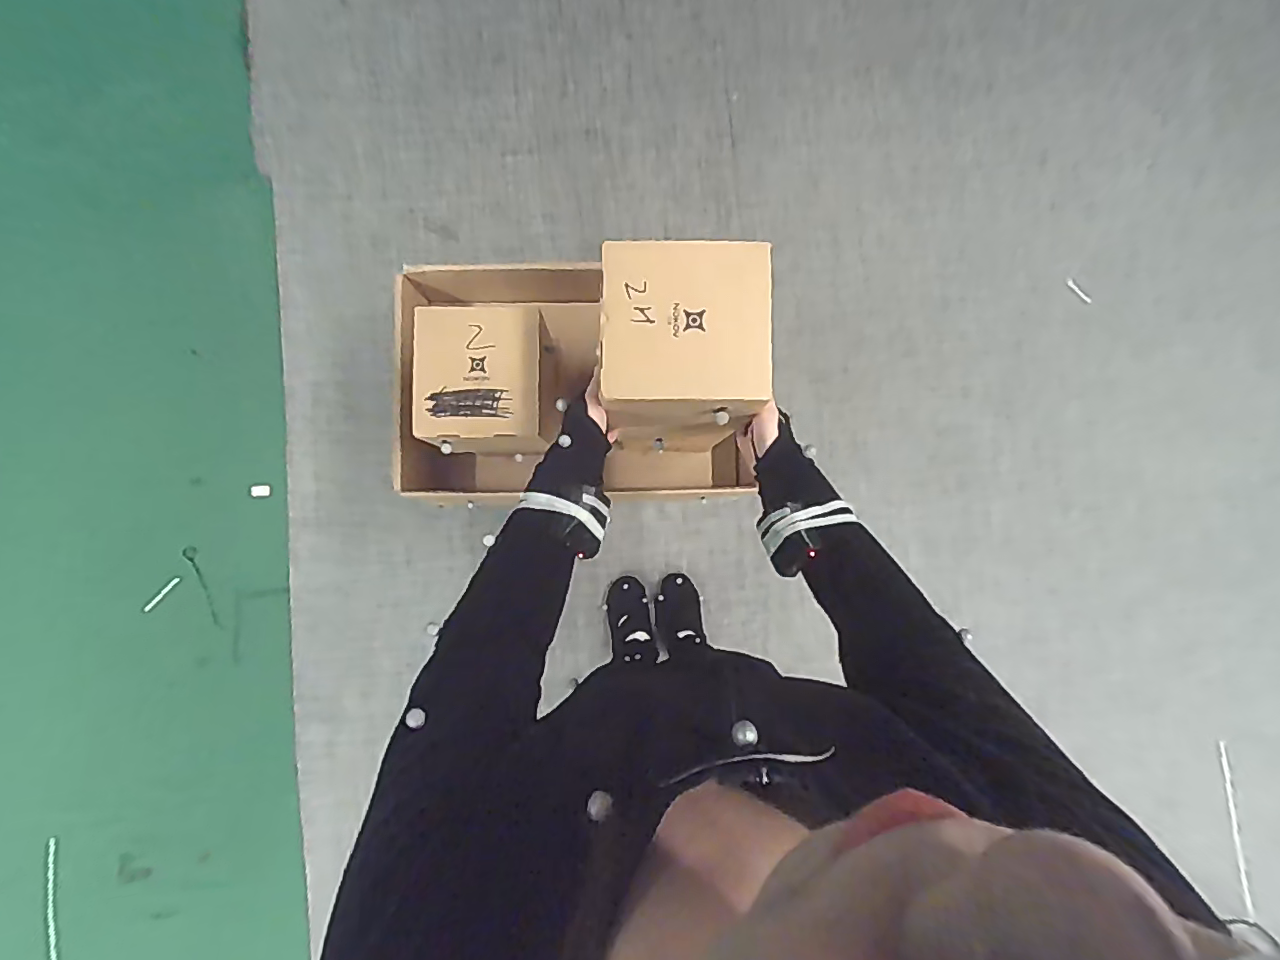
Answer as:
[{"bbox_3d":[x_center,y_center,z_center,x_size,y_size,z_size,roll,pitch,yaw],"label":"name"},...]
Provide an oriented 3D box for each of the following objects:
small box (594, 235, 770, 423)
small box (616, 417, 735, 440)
[{"bbox_3d":[0.044,-0.161,0.623,0.179,0.176,0.168,1,86,2],"label":"small box"},{"bbox_3d":[0.046,-0.158,0.795,0.168,0.176,0.179,2,88,0],"label":"small box"}]
